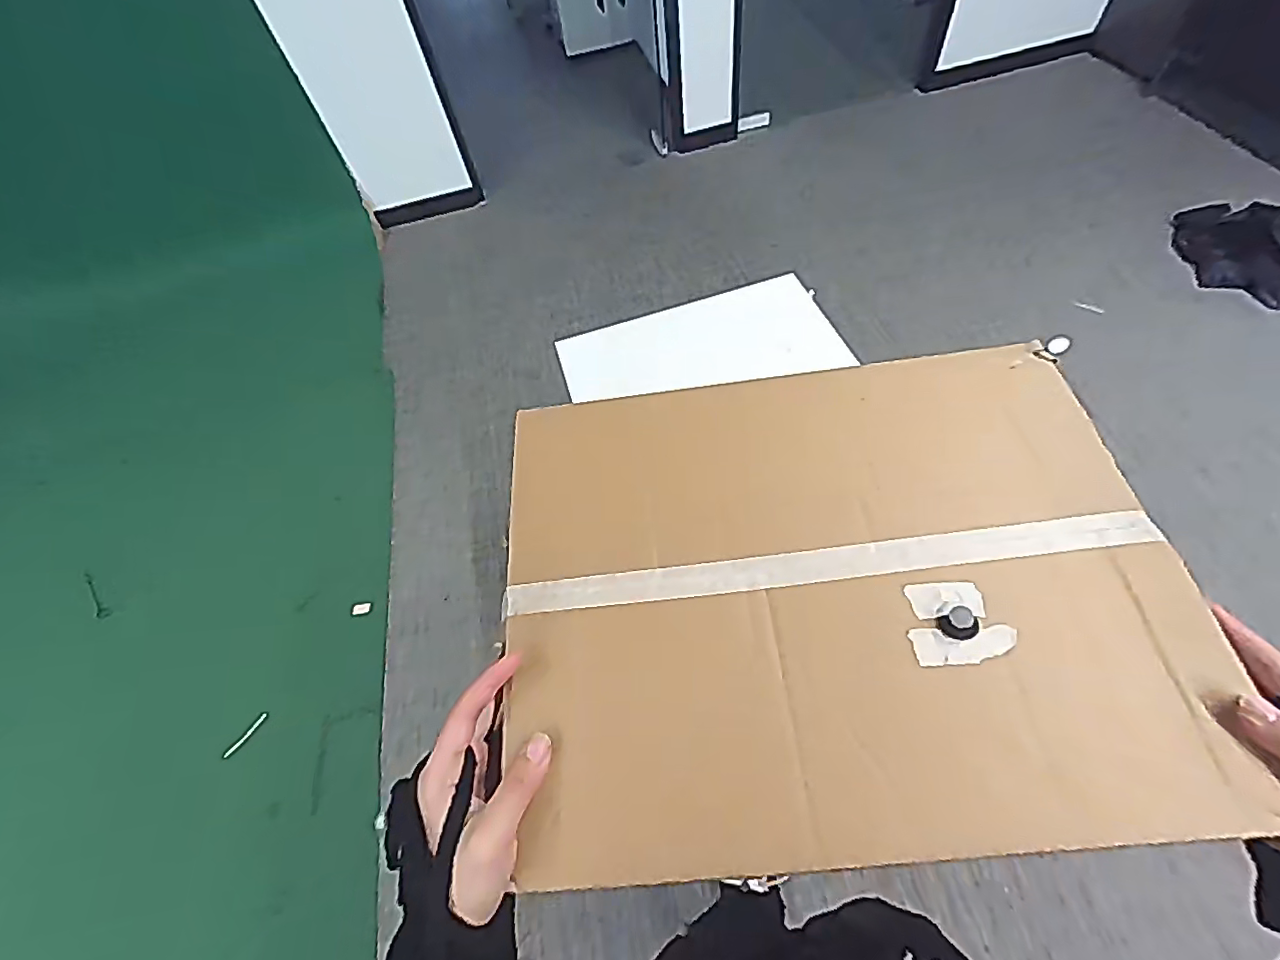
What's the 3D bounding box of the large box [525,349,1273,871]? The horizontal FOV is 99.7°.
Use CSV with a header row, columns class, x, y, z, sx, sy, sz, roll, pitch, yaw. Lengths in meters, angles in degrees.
class,x,y,z,sx,sy,sz,roll,pitch,yaw
large box,0.132,0.126,0.488,0.408,0.320,0.320,-7,61,3
